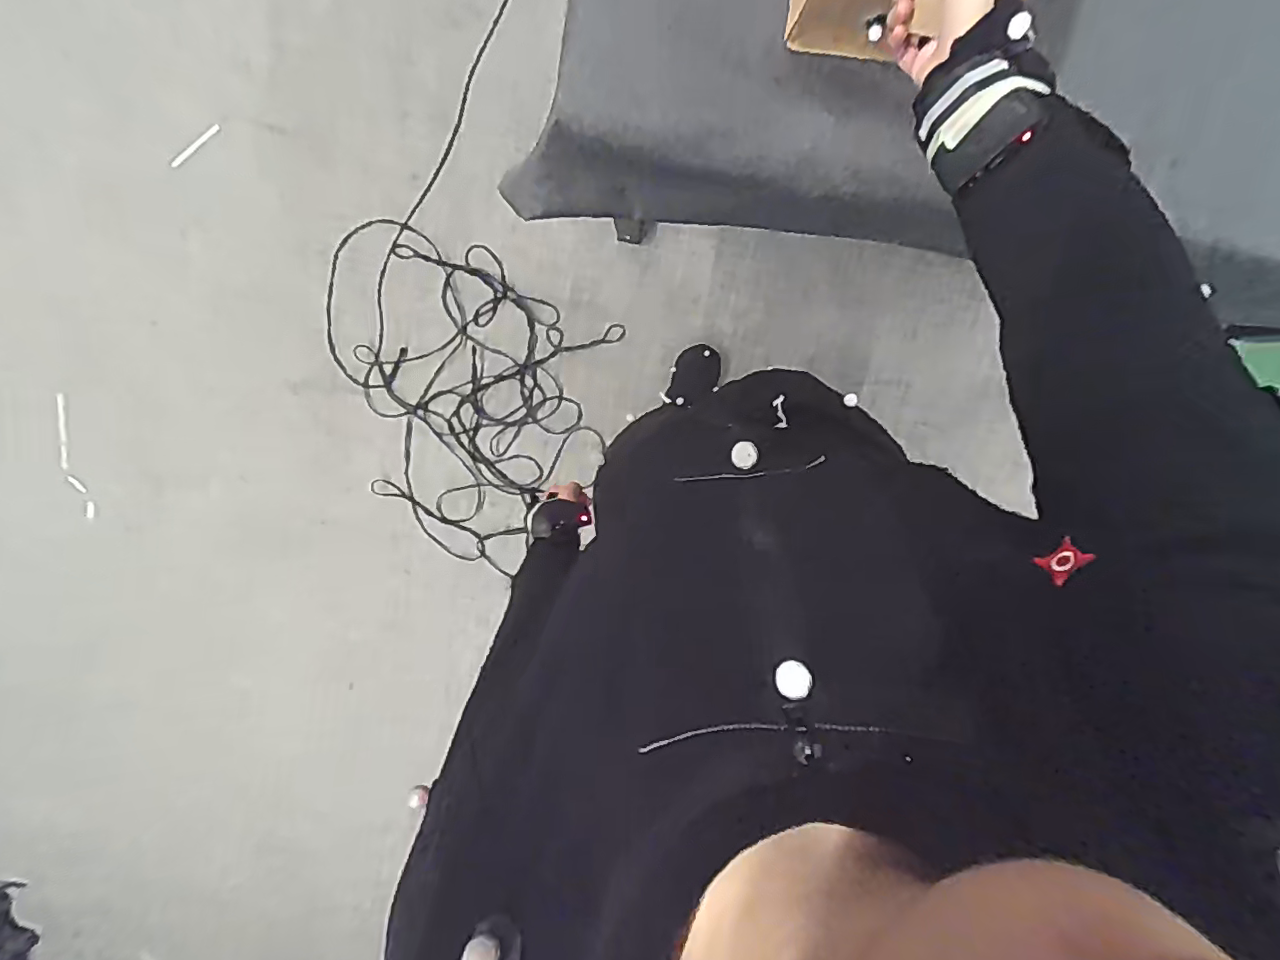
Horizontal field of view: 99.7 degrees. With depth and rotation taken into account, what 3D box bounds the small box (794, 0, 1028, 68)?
[{"bbox_3d":[0.232,-0.471,0.424,0.168,0.176,0.179,5,105,-1],"label":"small box"}]
